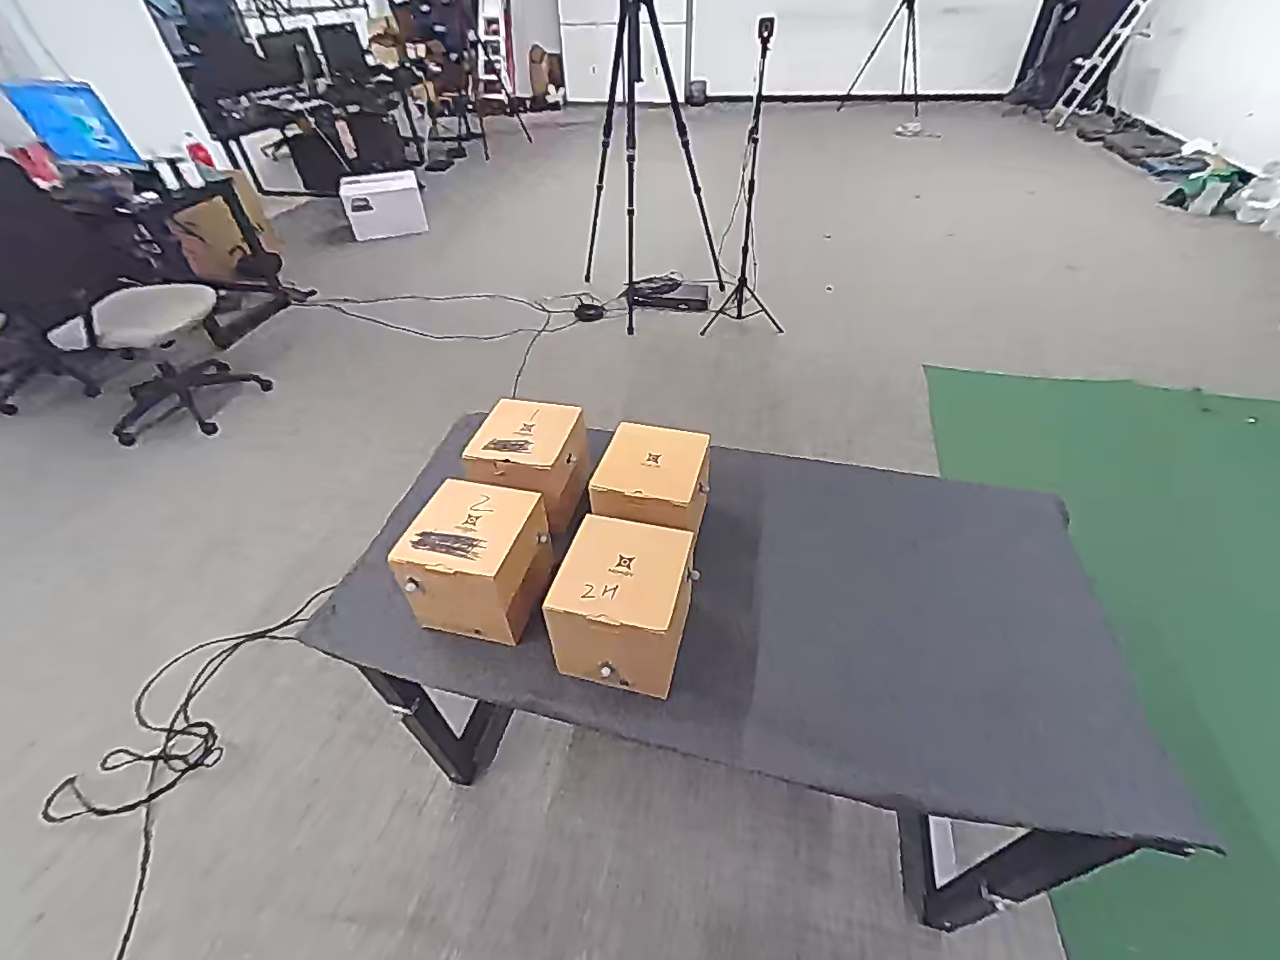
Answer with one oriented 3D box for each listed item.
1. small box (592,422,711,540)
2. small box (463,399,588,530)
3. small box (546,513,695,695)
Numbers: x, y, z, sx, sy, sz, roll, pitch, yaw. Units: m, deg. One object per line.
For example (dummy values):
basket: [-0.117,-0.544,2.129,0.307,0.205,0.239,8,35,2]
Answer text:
small box: [0.024,0.025,0.954,0.168,0.176,0.179,10,46,13]
small box: [-0.201,-0.028,1.018,0.168,0.176,0.179,8,44,11]
small box: [-0.021,0.177,0.787,0.168,0.176,0.179,9,43,13]
